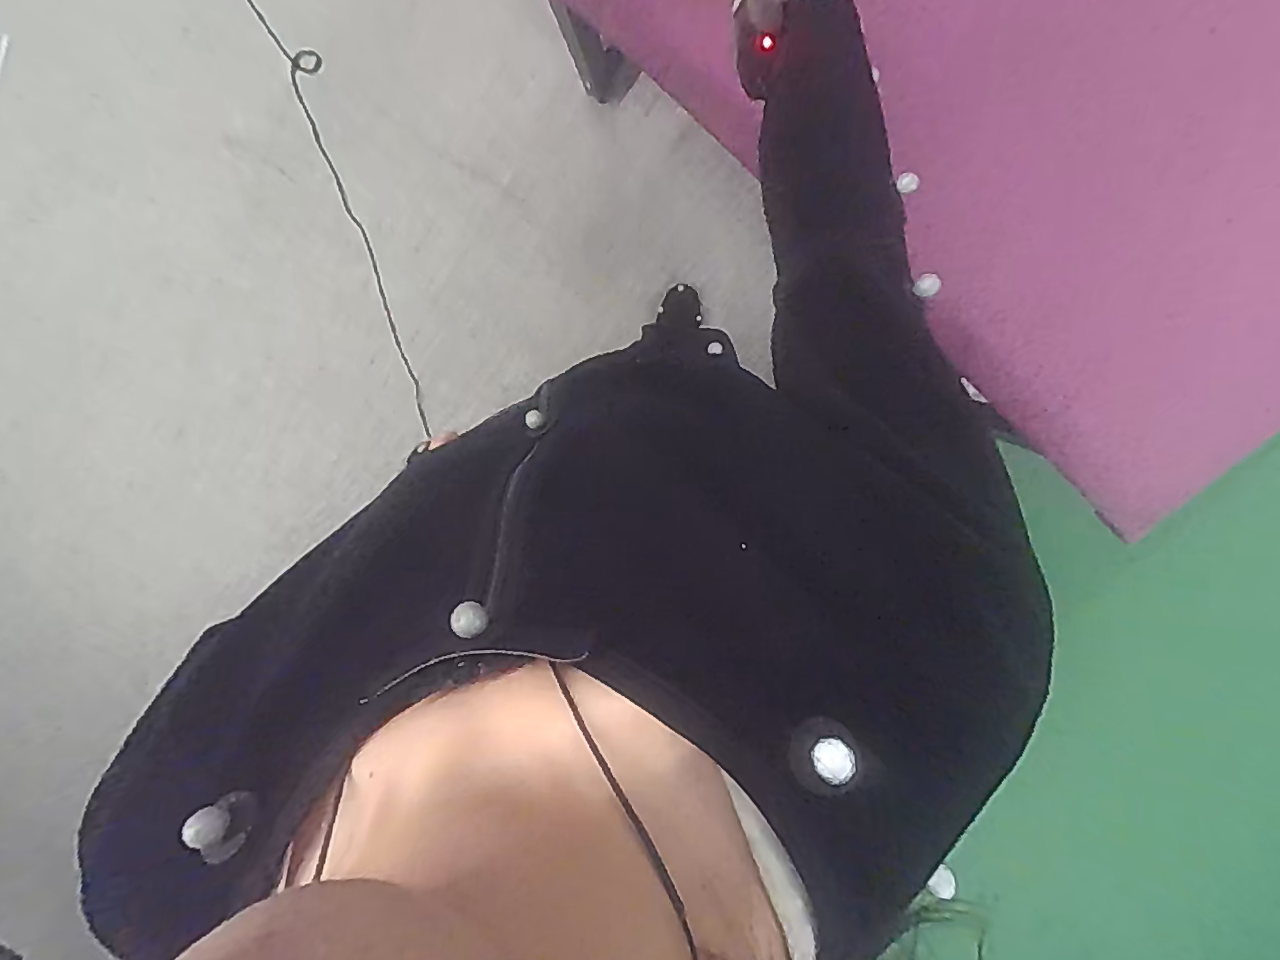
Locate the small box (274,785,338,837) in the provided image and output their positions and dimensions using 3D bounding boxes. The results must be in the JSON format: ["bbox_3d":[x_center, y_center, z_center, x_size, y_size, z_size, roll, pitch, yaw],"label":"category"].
[{"bbox_3d":[-1.135,1.125,1.841,0.168,0.176,0.179,39,106,-7],"label":"small box"}]

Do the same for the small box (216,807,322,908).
[{"bbox_3d":[-1.144,1.169,1.683,0.168,0.176,0.179,-31,101,13],"label":"small box"}]

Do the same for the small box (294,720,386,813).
[{"bbox_3d":[-0.969,0.930,1.770,0.168,0.176,0.179,43,105,-8],"label":"small box"}]
